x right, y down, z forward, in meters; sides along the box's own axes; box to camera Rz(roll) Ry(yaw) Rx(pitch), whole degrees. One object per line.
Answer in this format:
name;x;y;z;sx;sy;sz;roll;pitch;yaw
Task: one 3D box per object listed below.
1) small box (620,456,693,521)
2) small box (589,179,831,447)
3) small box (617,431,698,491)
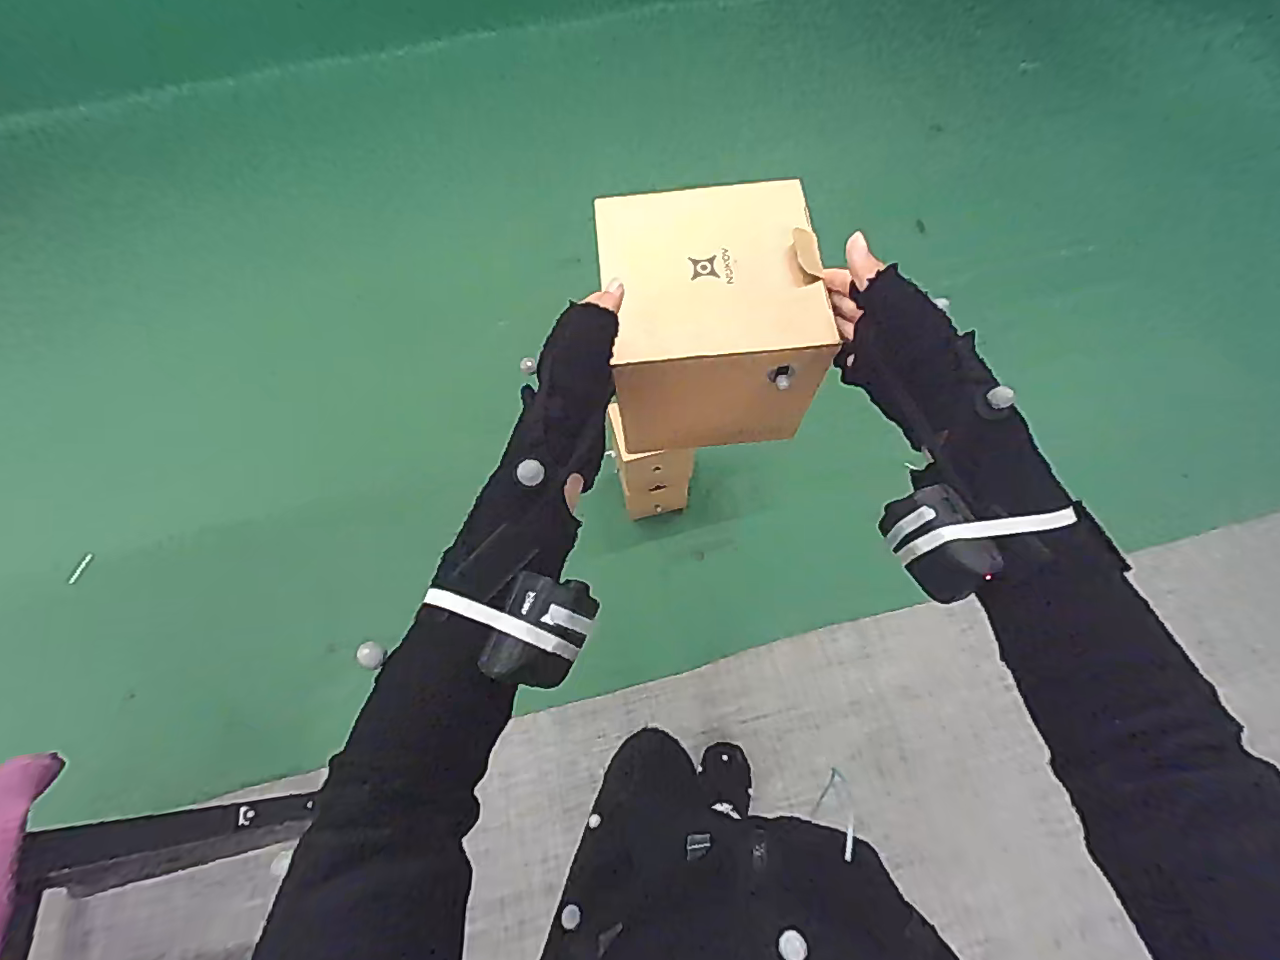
small box;0.041;-0.011;1.489;0.168;0.176;0.179;-14;63;-3
small box;0.054;-0.141;0.503;0.179;0.176;0.168;-6;69;0
small box;0.038;-0.091;1.342;0.179;0.176;0.168;-11;61;-3
